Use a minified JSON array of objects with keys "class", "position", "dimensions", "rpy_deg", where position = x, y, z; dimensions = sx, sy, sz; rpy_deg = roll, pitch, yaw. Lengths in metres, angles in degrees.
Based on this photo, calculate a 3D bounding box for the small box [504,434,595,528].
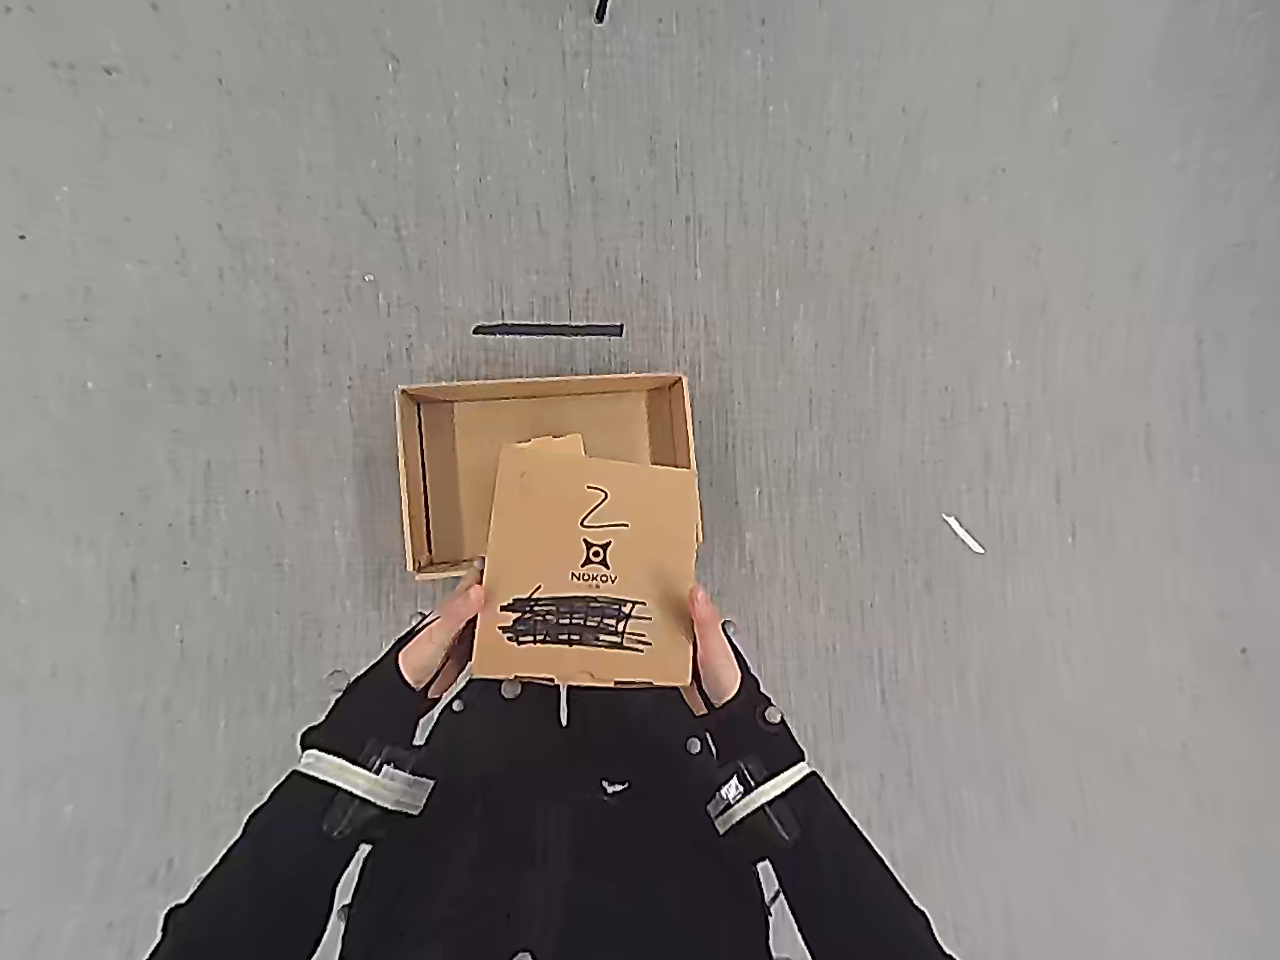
[{"class":"small box","position":[-0.202,0.005,1.200],"dimensions":[0.168,0.176,0.179],"rpy_deg":[-10,90,-10]}]
